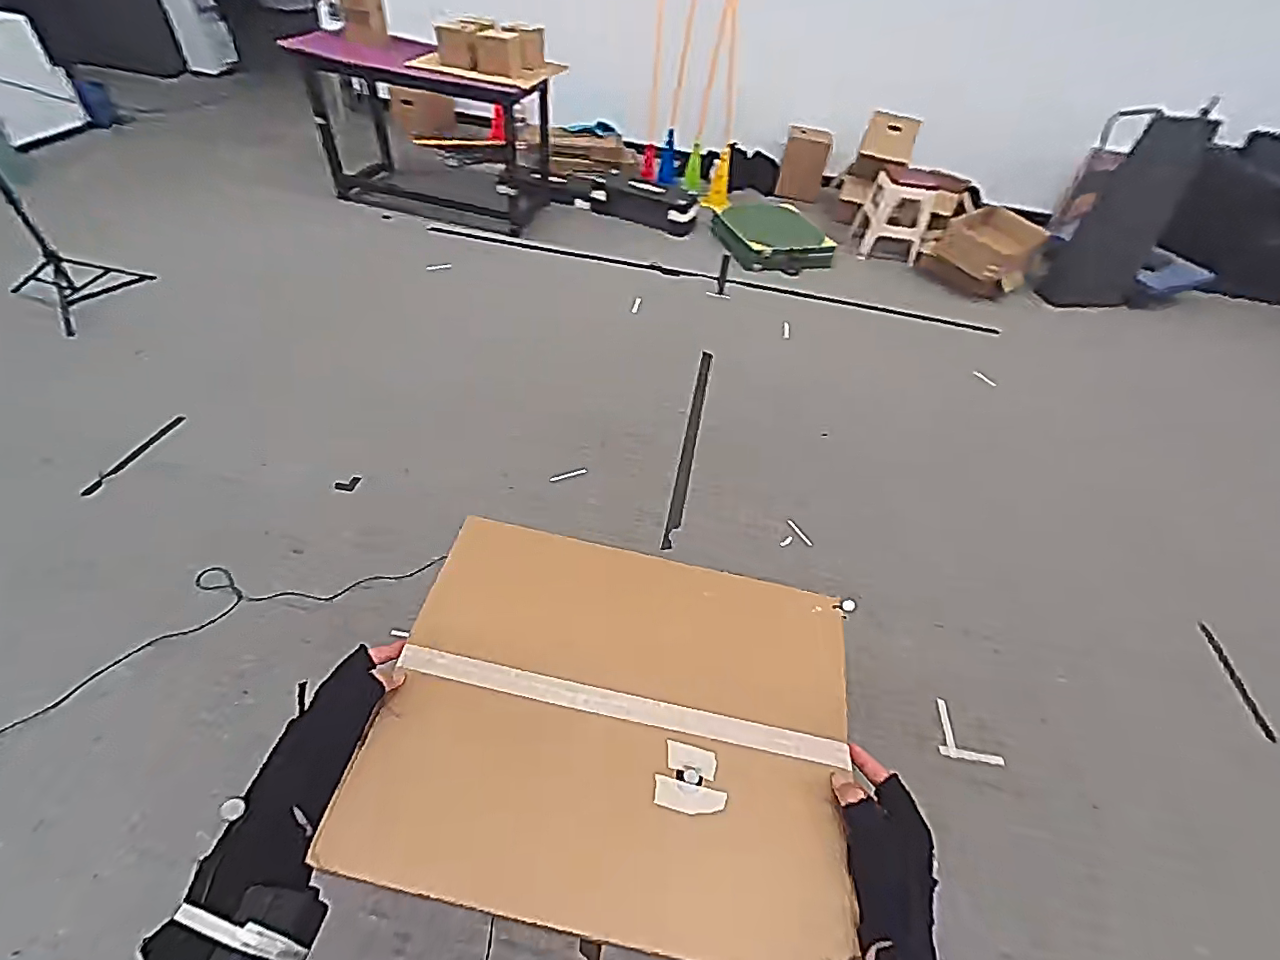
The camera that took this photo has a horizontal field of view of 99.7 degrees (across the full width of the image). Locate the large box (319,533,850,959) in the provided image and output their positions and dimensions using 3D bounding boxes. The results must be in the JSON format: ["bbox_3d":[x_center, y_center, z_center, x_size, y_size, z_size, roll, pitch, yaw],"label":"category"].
[{"bbox_3d":[-0.036,0.302,0.598,0.408,0.320,0.320,13,52,1],"label":"large box"}]
